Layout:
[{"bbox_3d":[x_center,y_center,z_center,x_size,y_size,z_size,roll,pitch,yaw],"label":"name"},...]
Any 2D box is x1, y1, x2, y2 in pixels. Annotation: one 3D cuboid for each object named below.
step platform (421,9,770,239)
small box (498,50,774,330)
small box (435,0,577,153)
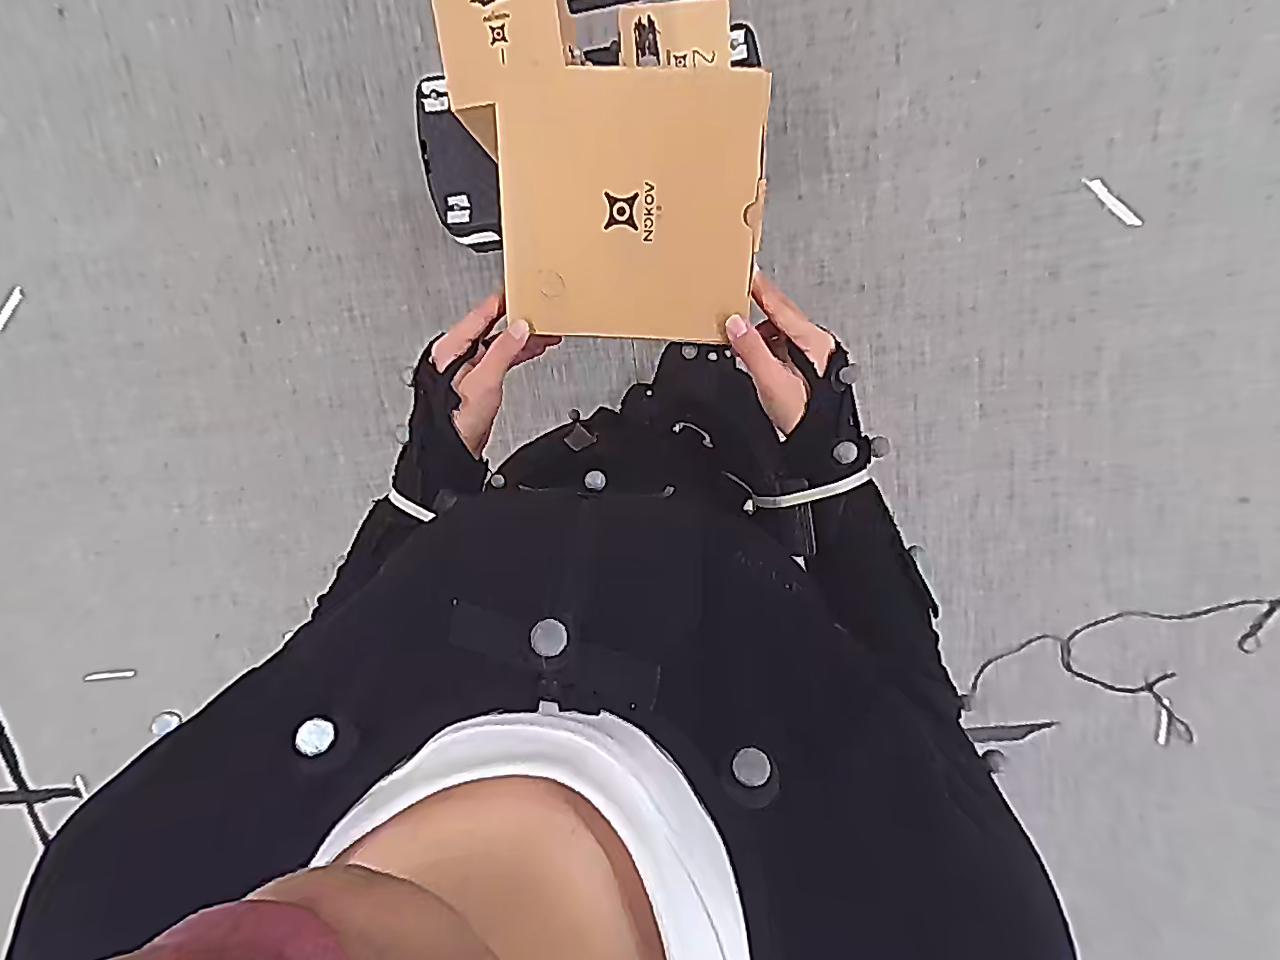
[{"bbox_3d":[-0.084,-0.706,1.108,0.684,0.204,0.286,-7,102,5],"label":"step platform"},{"bbox_3d":[-0.002,-0.213,0.437,0.179,0.176,0.168,3,109,2],"label":"small box"},{"bbox_3d":[-0.180,-0.609,0.786,0.168,0.176,0.179,-5,103,4],"label":"small box"}]
